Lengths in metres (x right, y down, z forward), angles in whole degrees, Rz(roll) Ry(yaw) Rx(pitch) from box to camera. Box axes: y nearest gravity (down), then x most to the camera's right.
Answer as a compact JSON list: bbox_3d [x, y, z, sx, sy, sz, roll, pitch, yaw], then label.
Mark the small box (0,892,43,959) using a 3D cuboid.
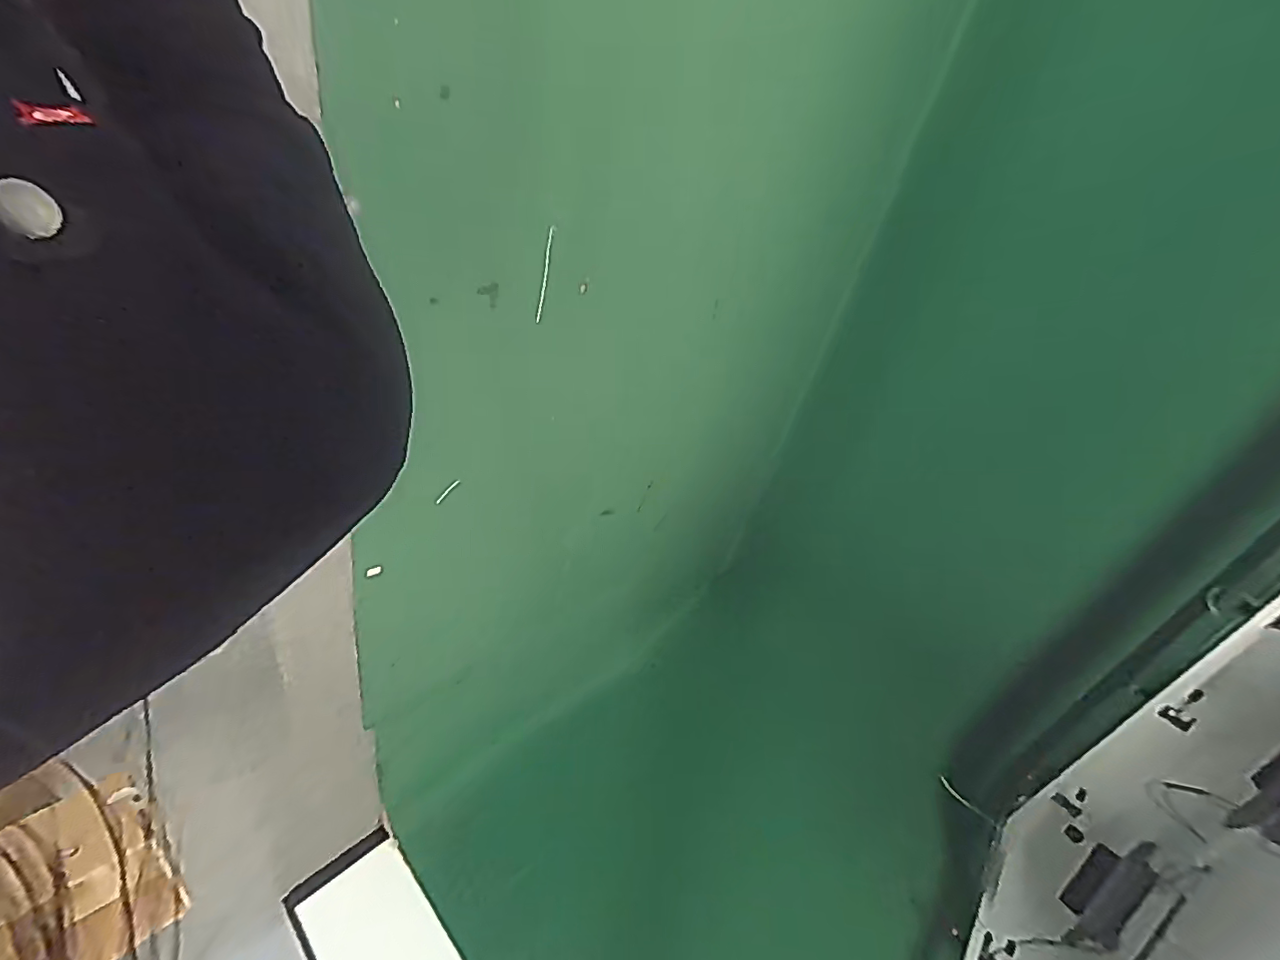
[{"bbox_3d":[-1.293,0.936,1.028,0.168,0.176,0.179,-30,145,-39],"label":"small box"}]
